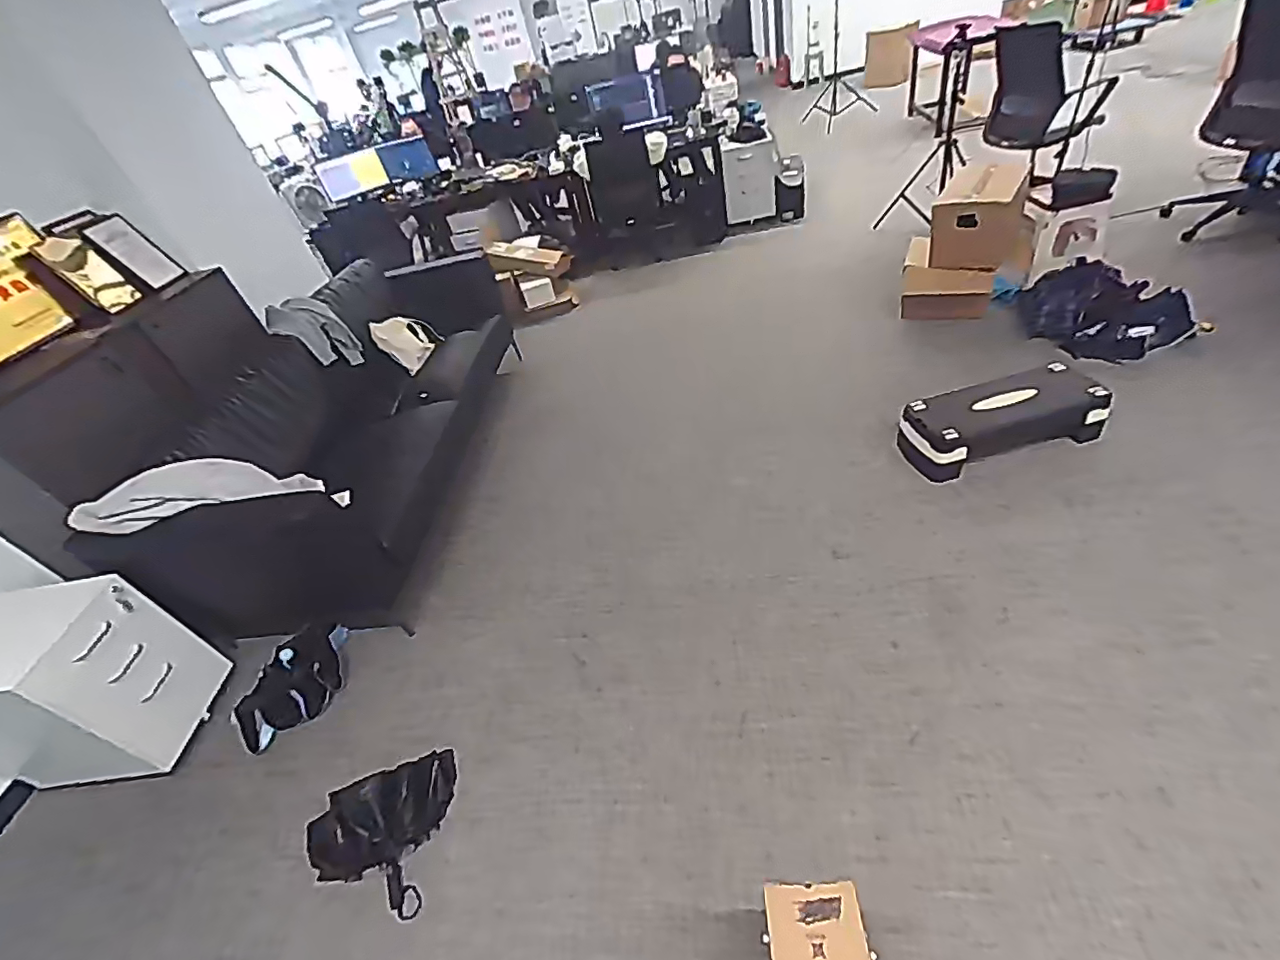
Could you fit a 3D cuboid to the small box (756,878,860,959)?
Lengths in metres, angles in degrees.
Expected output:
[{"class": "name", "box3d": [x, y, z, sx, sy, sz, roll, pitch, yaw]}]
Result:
[{"class": "small box", "box3d": [0.309, 0.863, 0.997, 0.168, 0.176, 0.179, -8, 41, 10]}]
